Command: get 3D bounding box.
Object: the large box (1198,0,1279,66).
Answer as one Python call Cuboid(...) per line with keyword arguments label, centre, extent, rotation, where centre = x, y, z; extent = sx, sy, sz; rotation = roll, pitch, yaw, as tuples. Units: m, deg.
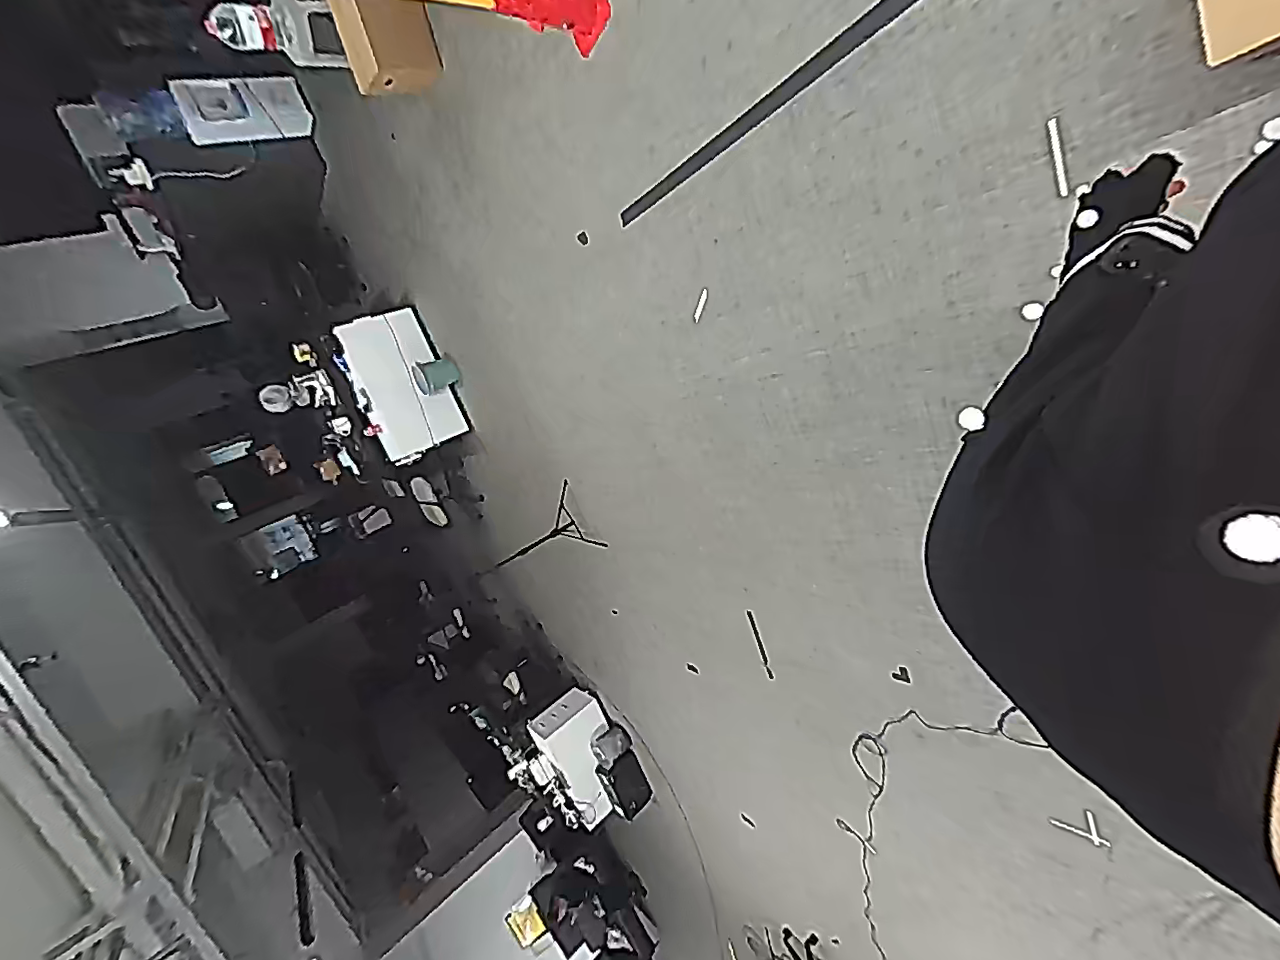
Cuboid(label="large box", centre=(0.930, -0.770, 0.621), extent=(0.408, 0.320, 0.320), rotation=(-6, 110, 54))
